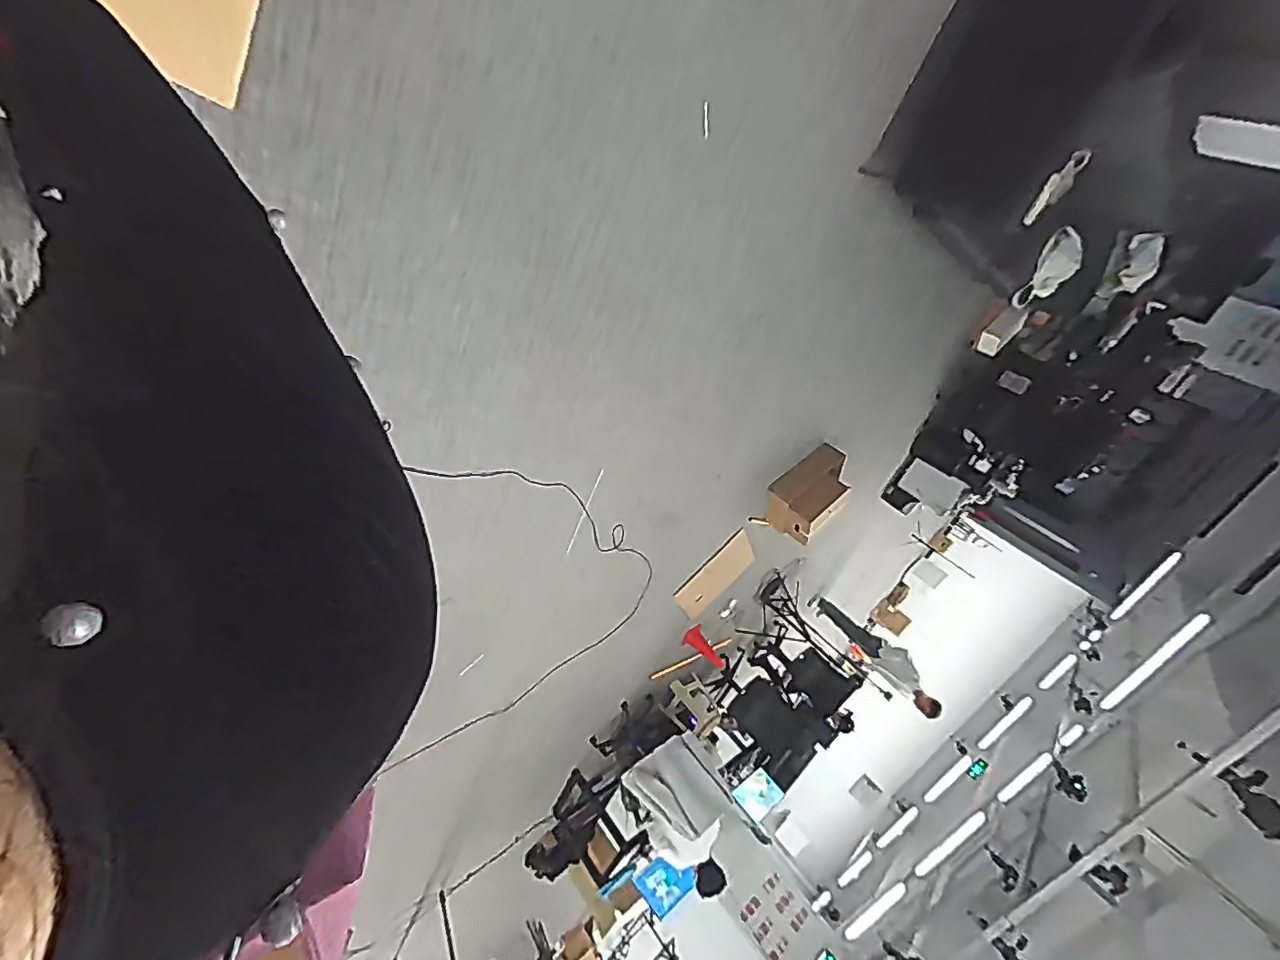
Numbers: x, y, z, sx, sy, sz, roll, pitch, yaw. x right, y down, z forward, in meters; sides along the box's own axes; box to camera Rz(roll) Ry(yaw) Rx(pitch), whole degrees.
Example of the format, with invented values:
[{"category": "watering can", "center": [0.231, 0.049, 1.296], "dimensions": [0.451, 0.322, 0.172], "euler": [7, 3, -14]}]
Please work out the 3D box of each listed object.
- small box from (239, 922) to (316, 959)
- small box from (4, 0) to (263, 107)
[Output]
[{"category": "small box", "center": [-0.924, 1.279, 1.358], "dimensions": [0.179, 0.176, 0.168], "euler": [-11, 133, -45]}, {"category": "small box", "center": [-0.475, -0.484, 0.489], "dimensions": [0.179, 0.176, 0.168], "euler": [-4, 124, -56]}]
